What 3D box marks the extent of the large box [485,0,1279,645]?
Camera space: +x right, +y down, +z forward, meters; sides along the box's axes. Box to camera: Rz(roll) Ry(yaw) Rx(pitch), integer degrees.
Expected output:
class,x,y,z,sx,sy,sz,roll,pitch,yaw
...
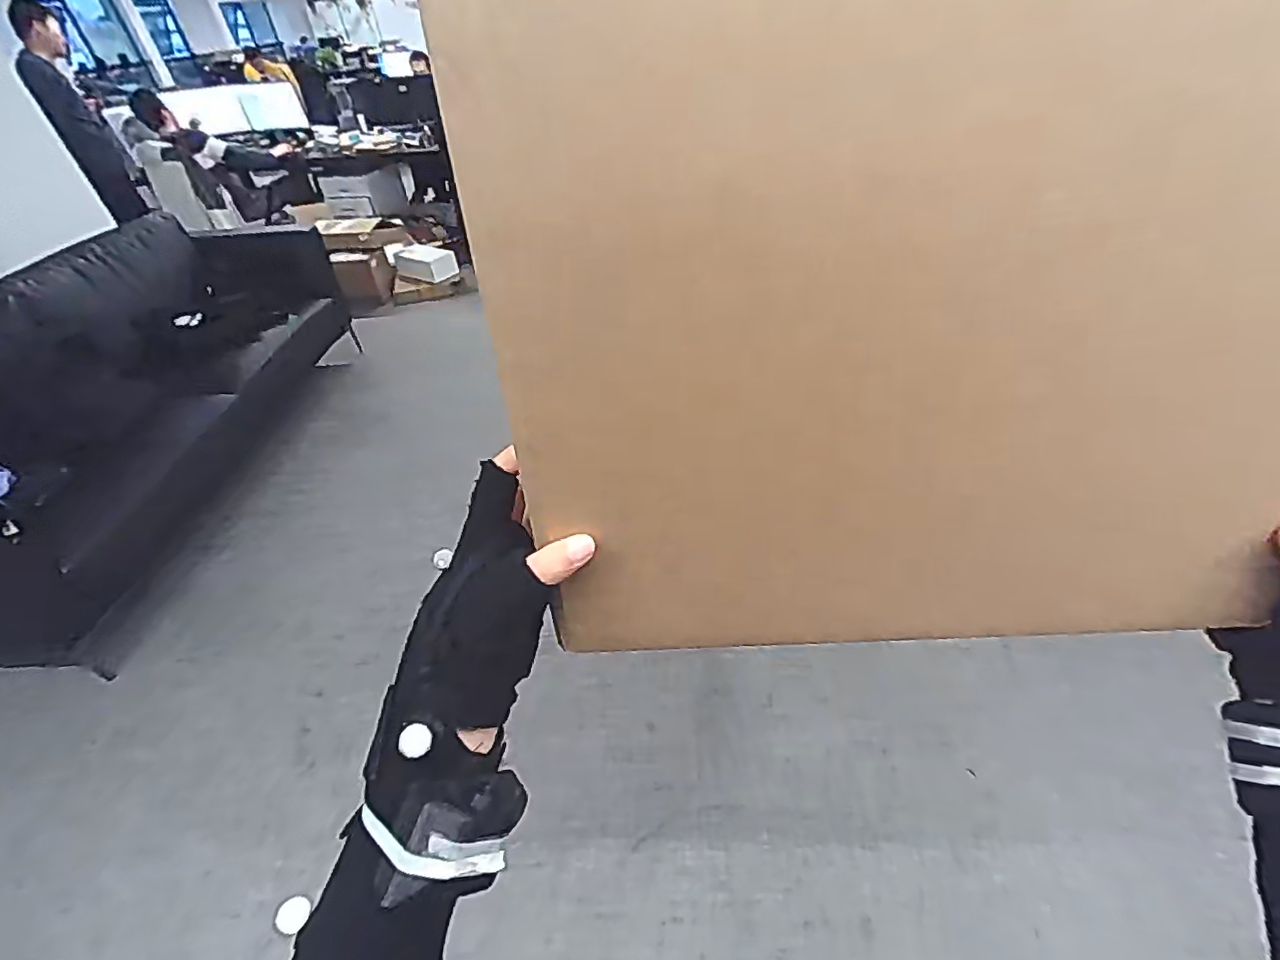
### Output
class,x,y,z,sx,sy,sz,roll,pitch,yaw
large box,0.149,-0.117,0.359,0.408,0.320,0.320,-2,34,1
